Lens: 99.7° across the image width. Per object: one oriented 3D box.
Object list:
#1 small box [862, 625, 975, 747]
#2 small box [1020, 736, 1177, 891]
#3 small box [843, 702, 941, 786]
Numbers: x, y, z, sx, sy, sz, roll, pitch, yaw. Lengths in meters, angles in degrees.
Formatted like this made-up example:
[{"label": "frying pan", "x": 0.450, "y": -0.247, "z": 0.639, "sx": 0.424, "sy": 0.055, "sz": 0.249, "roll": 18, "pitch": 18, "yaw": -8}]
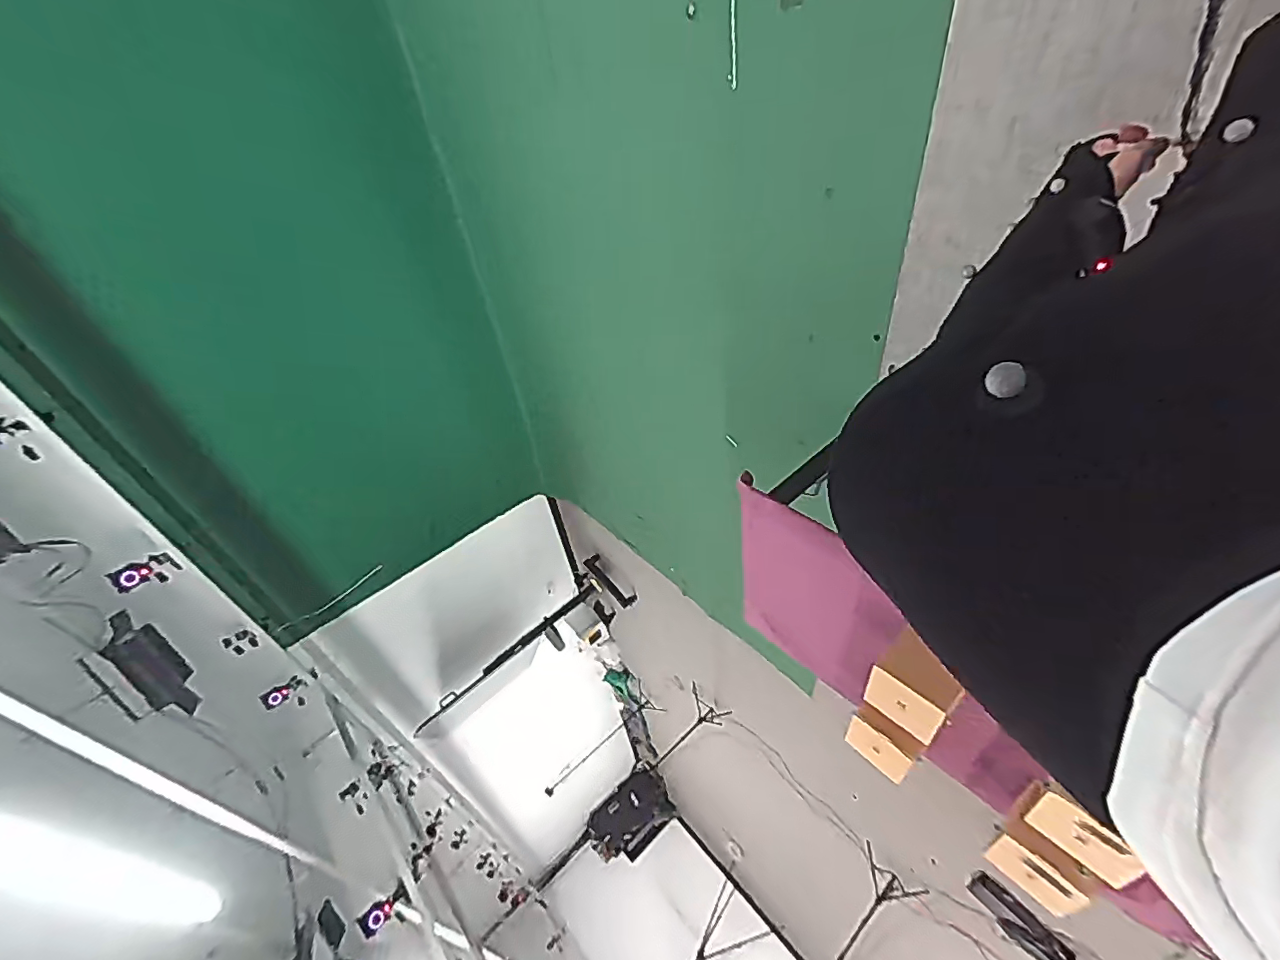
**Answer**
[{"label": "small box", "x": 0.657, "y": 0.483, "z": 1.281, "sx": 0.168, "sy": 0.176, "sz": 0.179, "roll": 34, "pitch": 148, "yaw": 37}, {"label": "small box", "x": 0.891, "y": 0.641, "z": 1.053, "sx": 0.168, "sy": 0.176, "sz": 0.179, "roll": 33, "pitch": 148, "yaw": 40}, {"label": "small box", "x": 0.684, "y": 0.681, "z": 1.470, "sx": 0.168, "sy": 0.176, "sz": 0.179, "roll": 35, "pitch": 147, "yaw": 37}]
